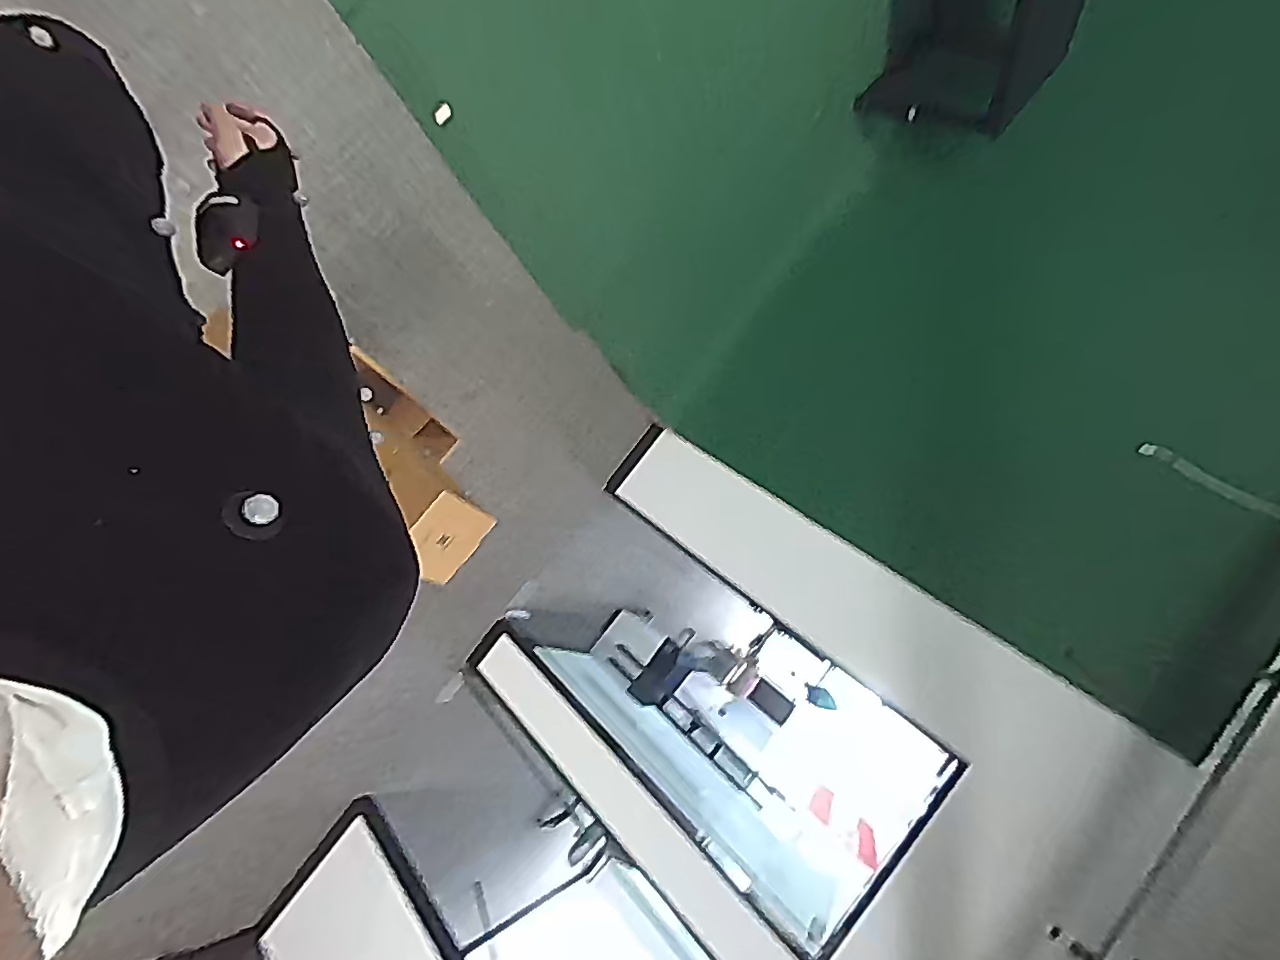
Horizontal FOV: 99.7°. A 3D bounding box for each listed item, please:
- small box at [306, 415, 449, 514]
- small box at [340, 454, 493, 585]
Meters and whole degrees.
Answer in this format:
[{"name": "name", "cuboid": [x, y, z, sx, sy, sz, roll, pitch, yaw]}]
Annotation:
[{"name": "small box", "cuboid": [-0.545, -0.008, 1.131, 0.168, 0.176, 0.179, -51, 151, -7]}, {"name": "small box", "cuboid": [-0.430, 0.075, 1.050, 0.168, 0.176, 0.179, -51, 151, -8]}]
